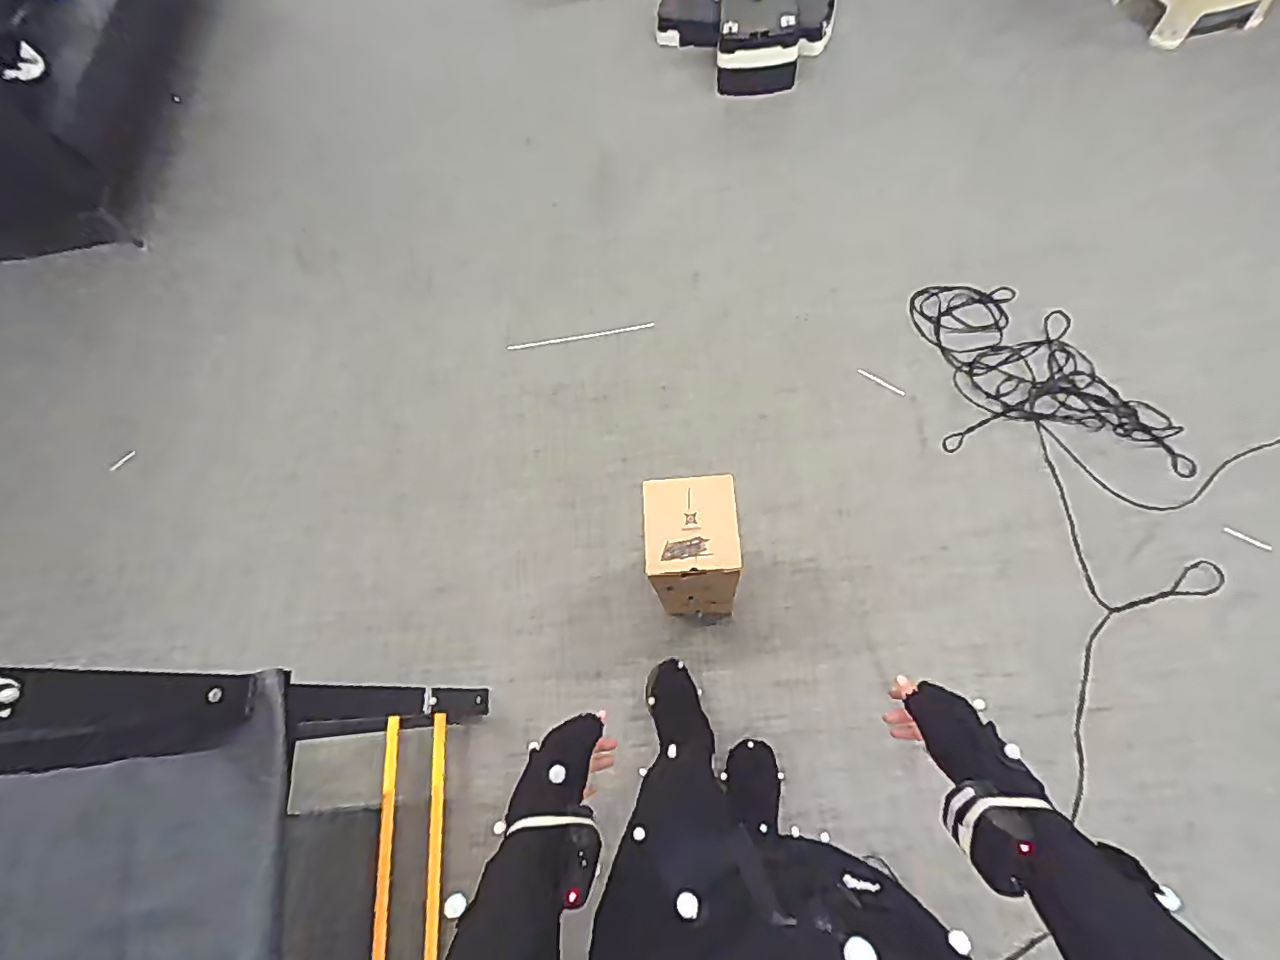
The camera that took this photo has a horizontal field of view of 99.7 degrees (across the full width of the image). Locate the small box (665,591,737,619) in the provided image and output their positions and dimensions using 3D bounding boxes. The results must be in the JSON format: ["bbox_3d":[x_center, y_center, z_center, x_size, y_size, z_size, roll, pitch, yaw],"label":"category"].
[{"bbox_3d":[0.150,0.241,1.326,0.168,0.176,0.179,-3,68,8],"label":"small box"}]

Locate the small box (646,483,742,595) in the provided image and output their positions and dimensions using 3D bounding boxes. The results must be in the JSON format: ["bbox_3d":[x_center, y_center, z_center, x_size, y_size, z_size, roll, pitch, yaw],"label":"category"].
[{"bbox_3d":[0.103,0.119,1.027,0.168,0.176,0.179,-4,67,6],"label":"small box"}]
